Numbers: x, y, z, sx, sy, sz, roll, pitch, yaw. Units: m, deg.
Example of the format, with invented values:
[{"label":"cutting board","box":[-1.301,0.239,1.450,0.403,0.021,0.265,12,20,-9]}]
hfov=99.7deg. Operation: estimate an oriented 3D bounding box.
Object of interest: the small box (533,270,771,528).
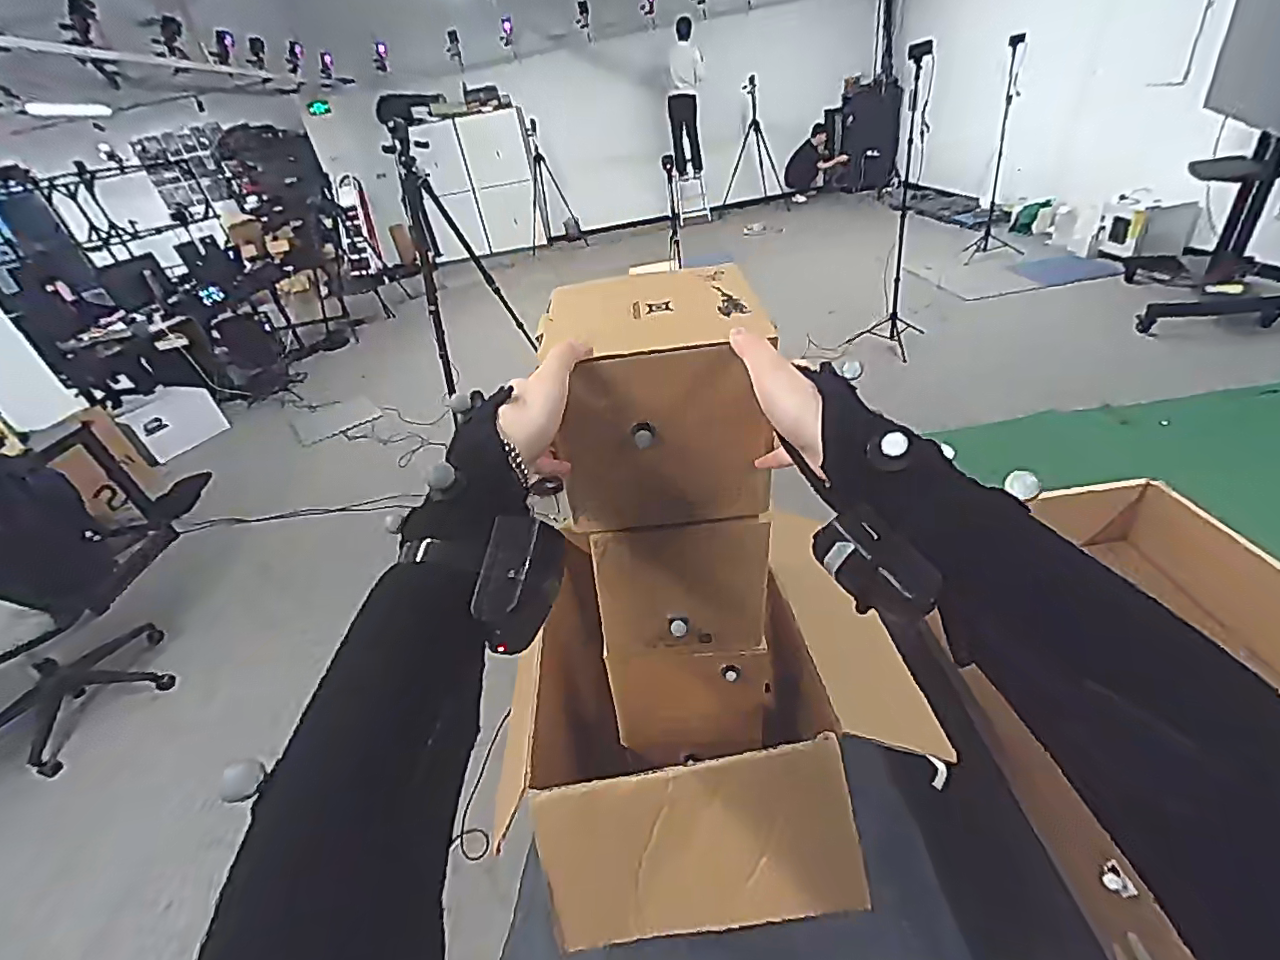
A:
[{"label":"small box","box":[0.016,-0.072,0.494,0.179,0.176,0.168,-7,38,2]}]

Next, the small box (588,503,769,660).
[{"label":"small box","box":[0.036,0.070,0.595,0.168,0.176,0.179,-6,33,0]}]
